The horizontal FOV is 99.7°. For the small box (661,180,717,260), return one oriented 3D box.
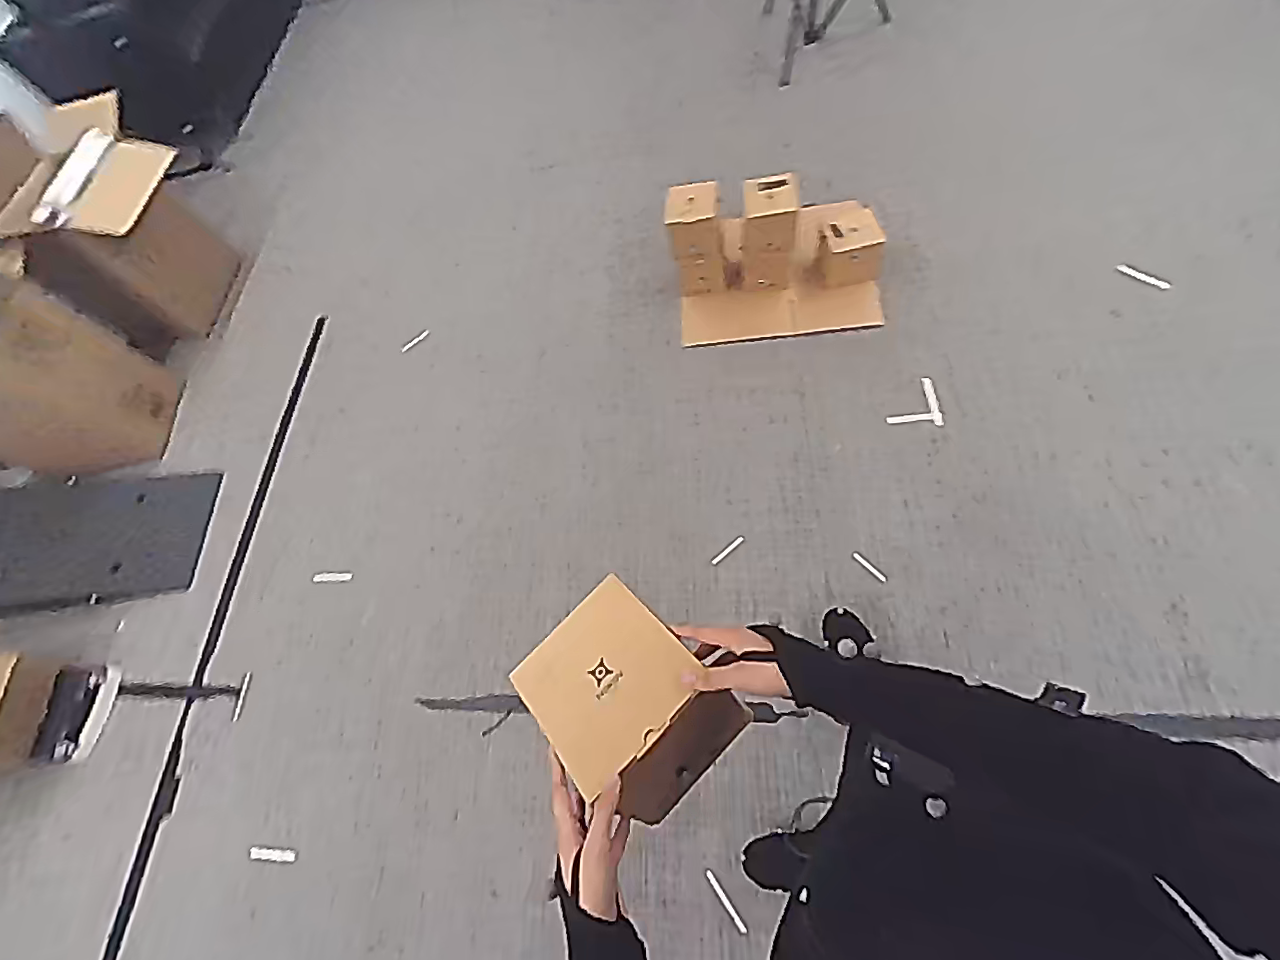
[{"bbox_3d":[0.171,-0.887,1.854,0.168,0.176,0.179,-1,66,14],"label":"small box"}]

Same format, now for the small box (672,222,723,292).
[{"bbox_3d":[0.216,-0.813,1.995,0.168,0.176,0.179,-2,66,13],"label":"small box"}]

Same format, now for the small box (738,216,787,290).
[{"bbox_3d":[0.440,-0.810,1.941,0.168,0.176,0.179,-1,66,13],"label":"small box"}]

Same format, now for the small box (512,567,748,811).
[{"bbox_3d":[-0.006,0.238,0.612,0.168,0.176,0.179,-44,48,-9],"label":"small box"}]

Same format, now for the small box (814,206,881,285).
[{"bbox_3d":[0.710,-0.805,1.873,0.179,0.176,0.168,-12,64,7],"label":"small box"}]
